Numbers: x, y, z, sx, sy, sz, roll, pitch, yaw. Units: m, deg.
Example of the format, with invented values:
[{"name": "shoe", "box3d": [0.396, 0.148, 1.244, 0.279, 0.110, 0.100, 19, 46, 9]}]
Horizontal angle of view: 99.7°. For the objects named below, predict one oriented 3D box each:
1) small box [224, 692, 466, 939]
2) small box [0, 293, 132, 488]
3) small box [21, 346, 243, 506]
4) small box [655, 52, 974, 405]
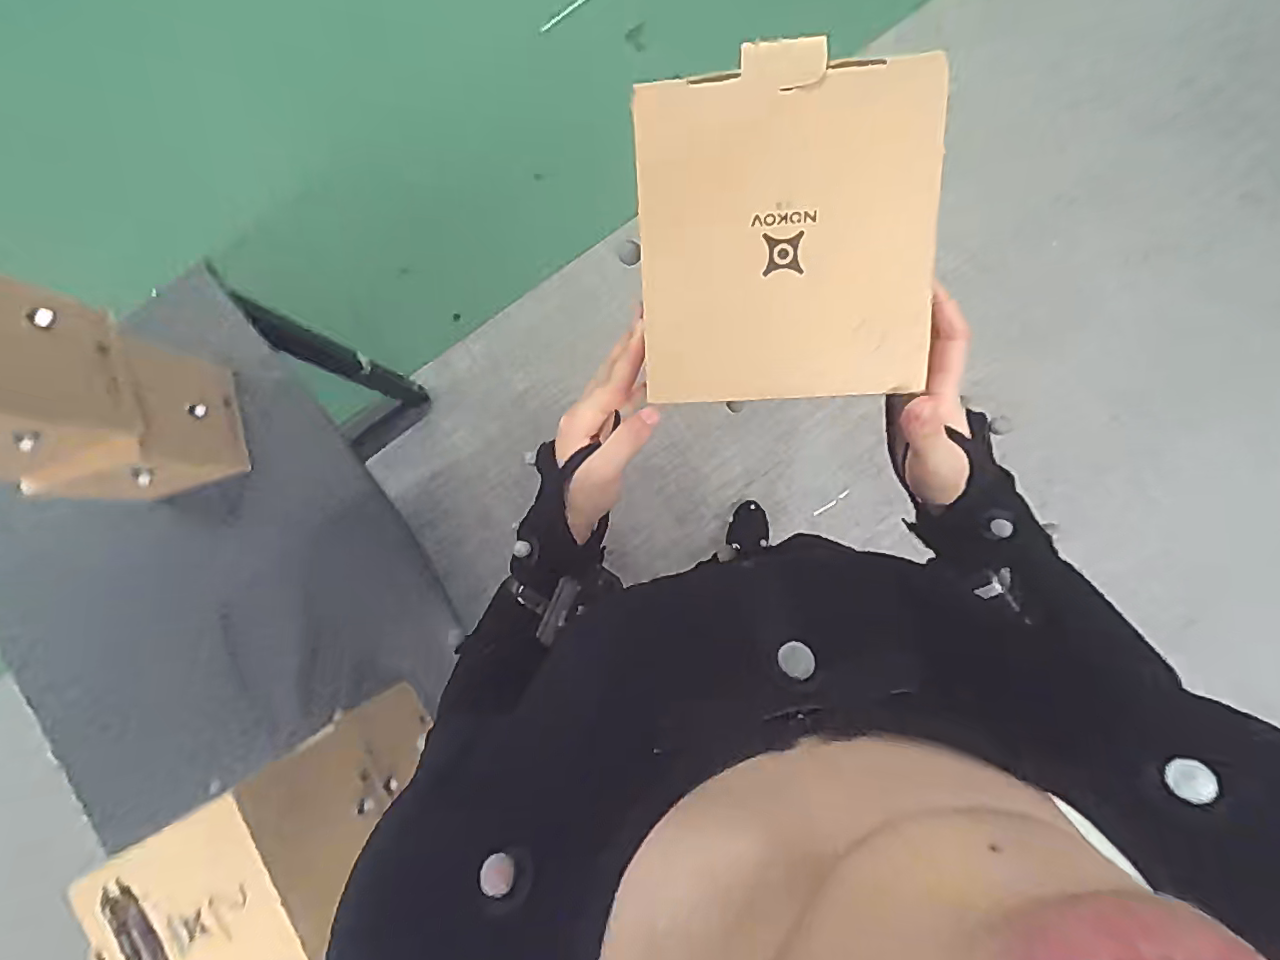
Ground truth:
[{"name": "small box", "box3d": [-0.360, 0.408, 0.691, 0.179, 0.176, 0.168, -36, 84, 2]}, {"name": "small box", "box3d": [-0.713, -0.097, 0.592, 0.179, 0.176, 0.168, -21, 83, 5]}, {"name": "small box", "box3d": [-0.695, -0.064, 0.751, 0.179, 0.176, 0.168, -16, 84, 6]}, {"name": "small box", "box3d": [0.101, -0.151, 0.380, 0.168, 0.176, 0.179, -2, 103, 6]}]
